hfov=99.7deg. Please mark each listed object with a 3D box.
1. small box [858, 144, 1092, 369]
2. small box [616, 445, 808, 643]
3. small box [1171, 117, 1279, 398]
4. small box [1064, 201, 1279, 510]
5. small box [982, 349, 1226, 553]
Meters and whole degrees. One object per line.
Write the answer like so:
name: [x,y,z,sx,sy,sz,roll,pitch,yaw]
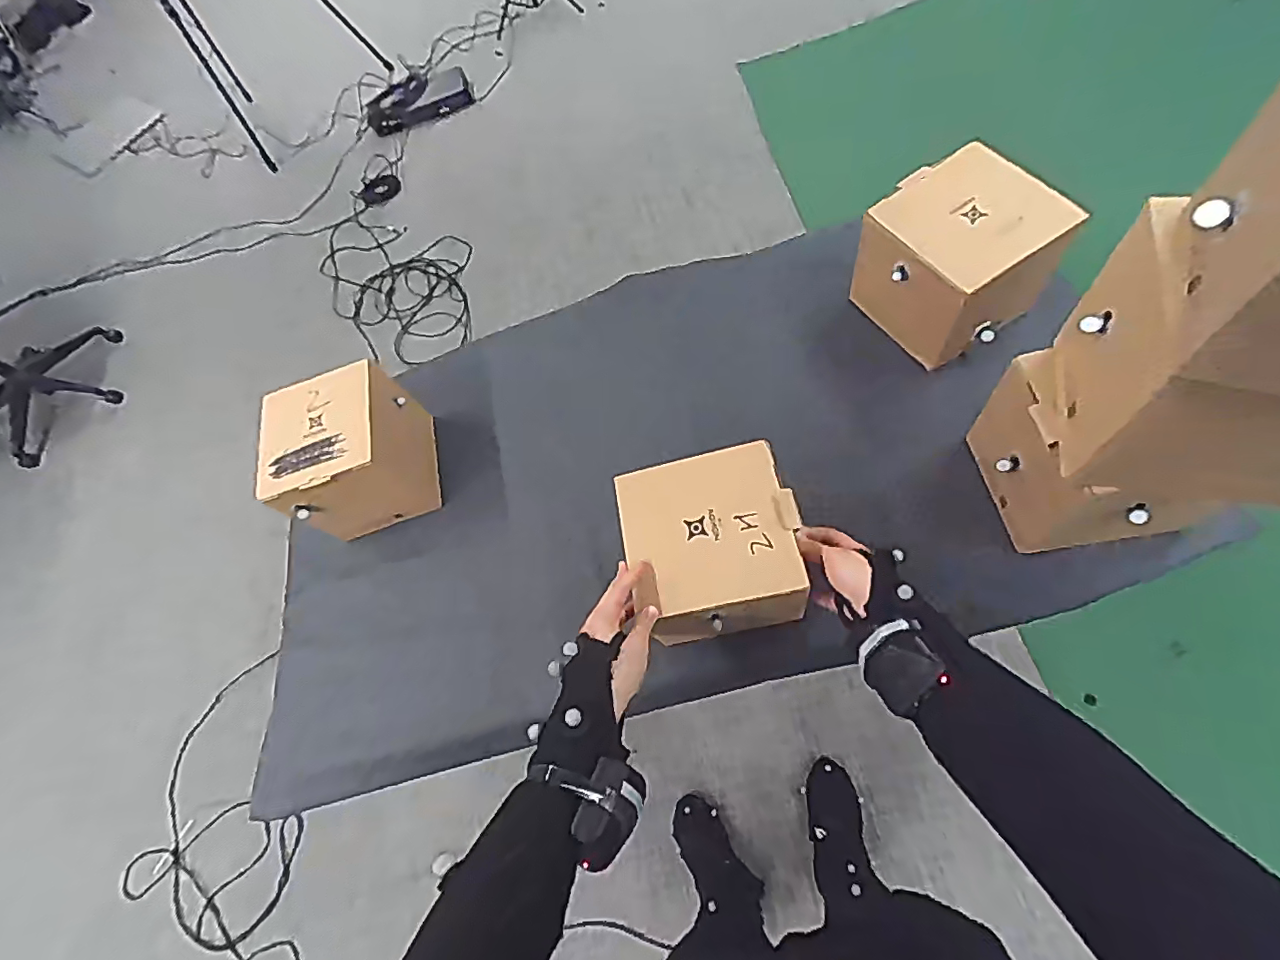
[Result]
small box: [0.412,-0.281,0.707,0.168,0.176,0.179,-34,65,1]
small box: [0.085,0.085,0.625,0.179,0.176,0.168,-13,65,8]
small box: [0.432,-0.140,0.269,0.179,0.176,0.168,18,69,22]
small box: [0.466,-0.090,0.424,0.179,0.176,0.168,9,66,17]
small box: [0.496,-0.032,0.574,0.179,0.176,0.168,-11,62,9]
